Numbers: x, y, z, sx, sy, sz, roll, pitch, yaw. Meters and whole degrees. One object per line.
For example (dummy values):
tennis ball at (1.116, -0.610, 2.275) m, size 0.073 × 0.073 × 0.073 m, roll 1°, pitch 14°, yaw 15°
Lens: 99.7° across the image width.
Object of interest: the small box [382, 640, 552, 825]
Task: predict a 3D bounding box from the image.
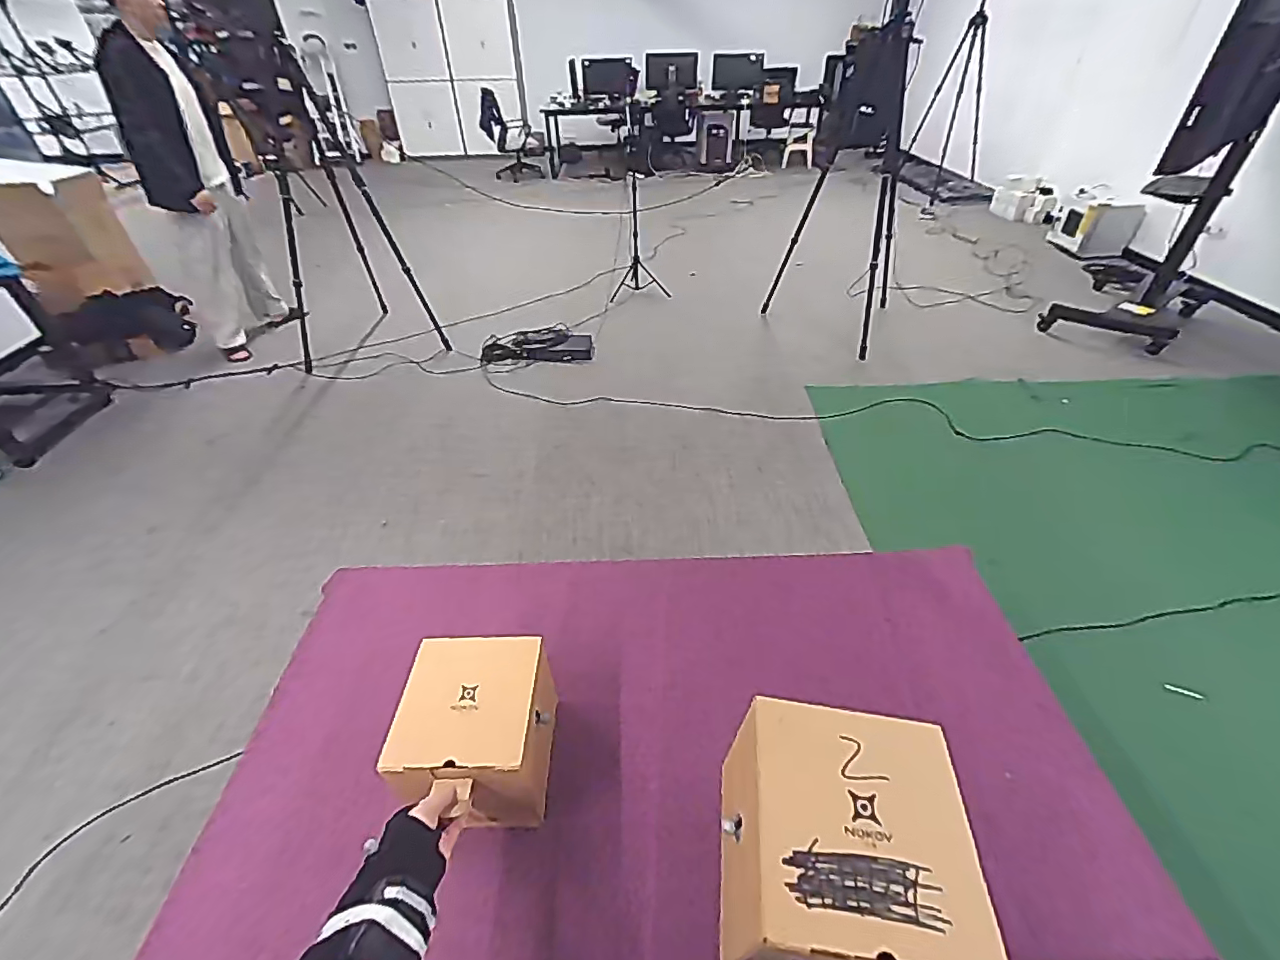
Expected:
small box at (-0.217, 0.340, 0.735) m, size 0.168 × 0.176 × 0.179 m, roll -1°, pitch 39°, yaw 1°
